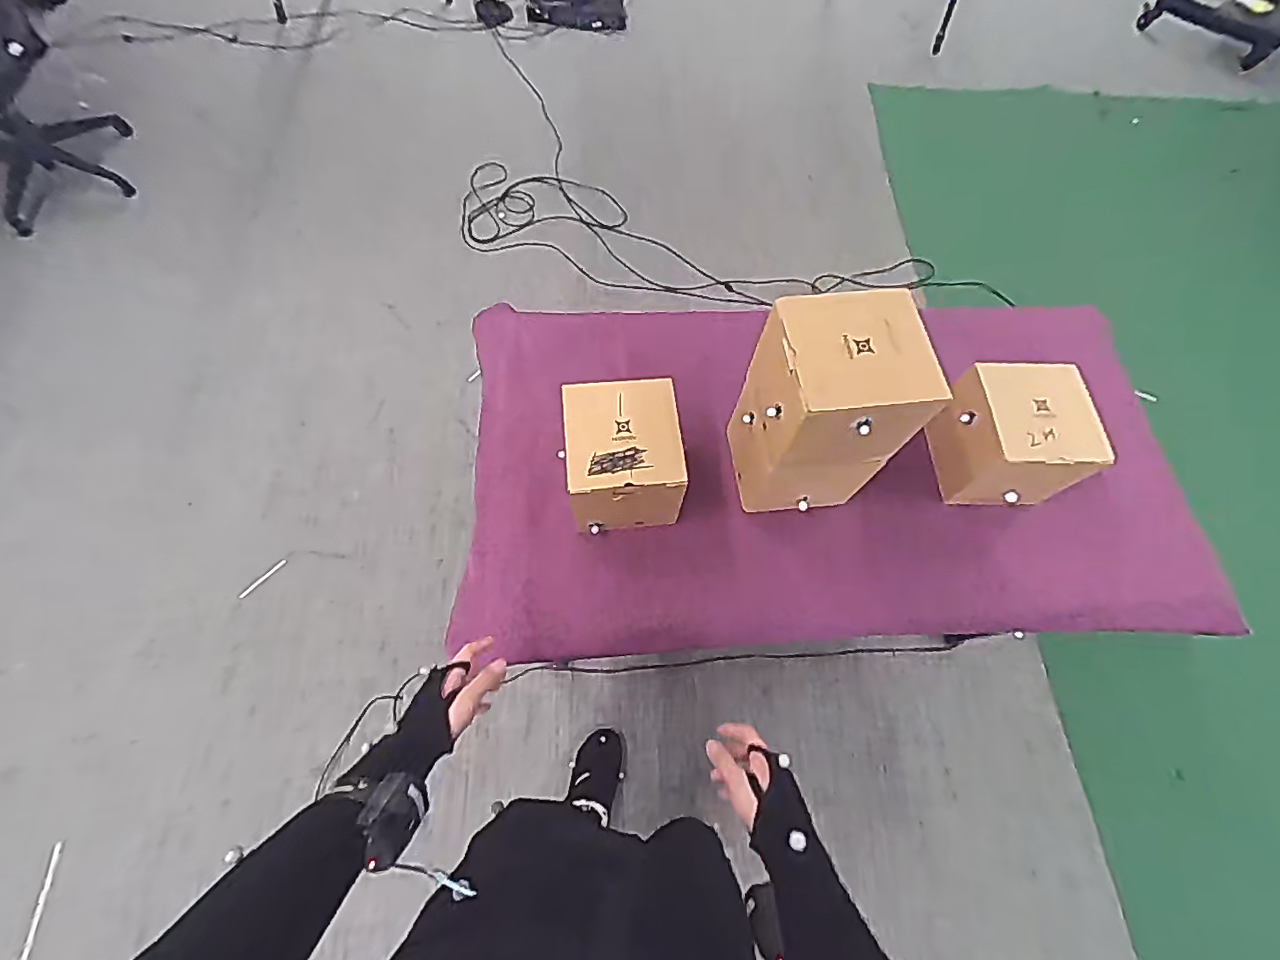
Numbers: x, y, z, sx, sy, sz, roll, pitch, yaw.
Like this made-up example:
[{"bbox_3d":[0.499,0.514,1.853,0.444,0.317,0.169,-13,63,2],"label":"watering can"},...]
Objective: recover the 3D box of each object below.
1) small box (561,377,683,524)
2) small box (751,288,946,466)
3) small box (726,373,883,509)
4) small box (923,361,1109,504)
[{"bbox_3d":[-0.031,-0.037,0.839,0.168,0.176,0.179,-5,65,-5],"label":"small box"},{"bbox_3d":[0.254,-0.127,0.715,0.179,0.176,0.168,-5,67,-5],"label":"small box"},{"bbox_3d":[0.249,-0.061,0.865,0.179,0.176,0.168,-4,66,-5],"label":"small box"},{"bbox_3d":[0.595,-0.073,0.885,0.168,0.176,0.179,1,66,-2],"label":"small box"}]
